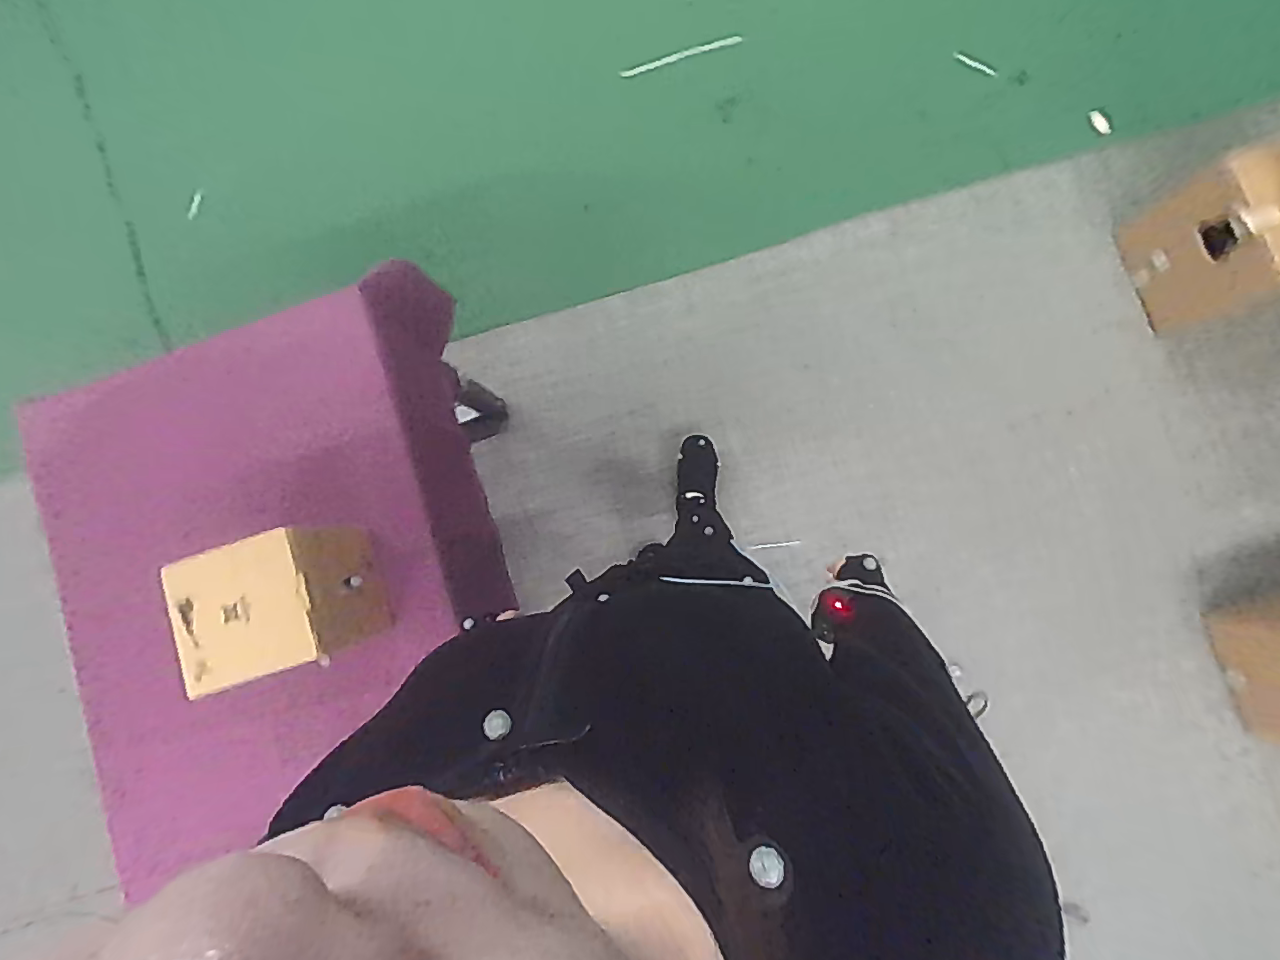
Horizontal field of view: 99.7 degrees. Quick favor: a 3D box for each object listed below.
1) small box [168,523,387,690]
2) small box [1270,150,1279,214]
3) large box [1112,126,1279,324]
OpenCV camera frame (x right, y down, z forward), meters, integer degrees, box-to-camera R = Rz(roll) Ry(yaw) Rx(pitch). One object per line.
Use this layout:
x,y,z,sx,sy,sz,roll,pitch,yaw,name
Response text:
-0.474,0.159,0.739,0.179,0.176,0.168,-18,85,3,small box
1.434,-0.636,1.065,0.179,0.176,0.168,-7,85,4,small box
1.502,-0.628,1.303,0.408,0.320,0.320,-17,85,2,large box
